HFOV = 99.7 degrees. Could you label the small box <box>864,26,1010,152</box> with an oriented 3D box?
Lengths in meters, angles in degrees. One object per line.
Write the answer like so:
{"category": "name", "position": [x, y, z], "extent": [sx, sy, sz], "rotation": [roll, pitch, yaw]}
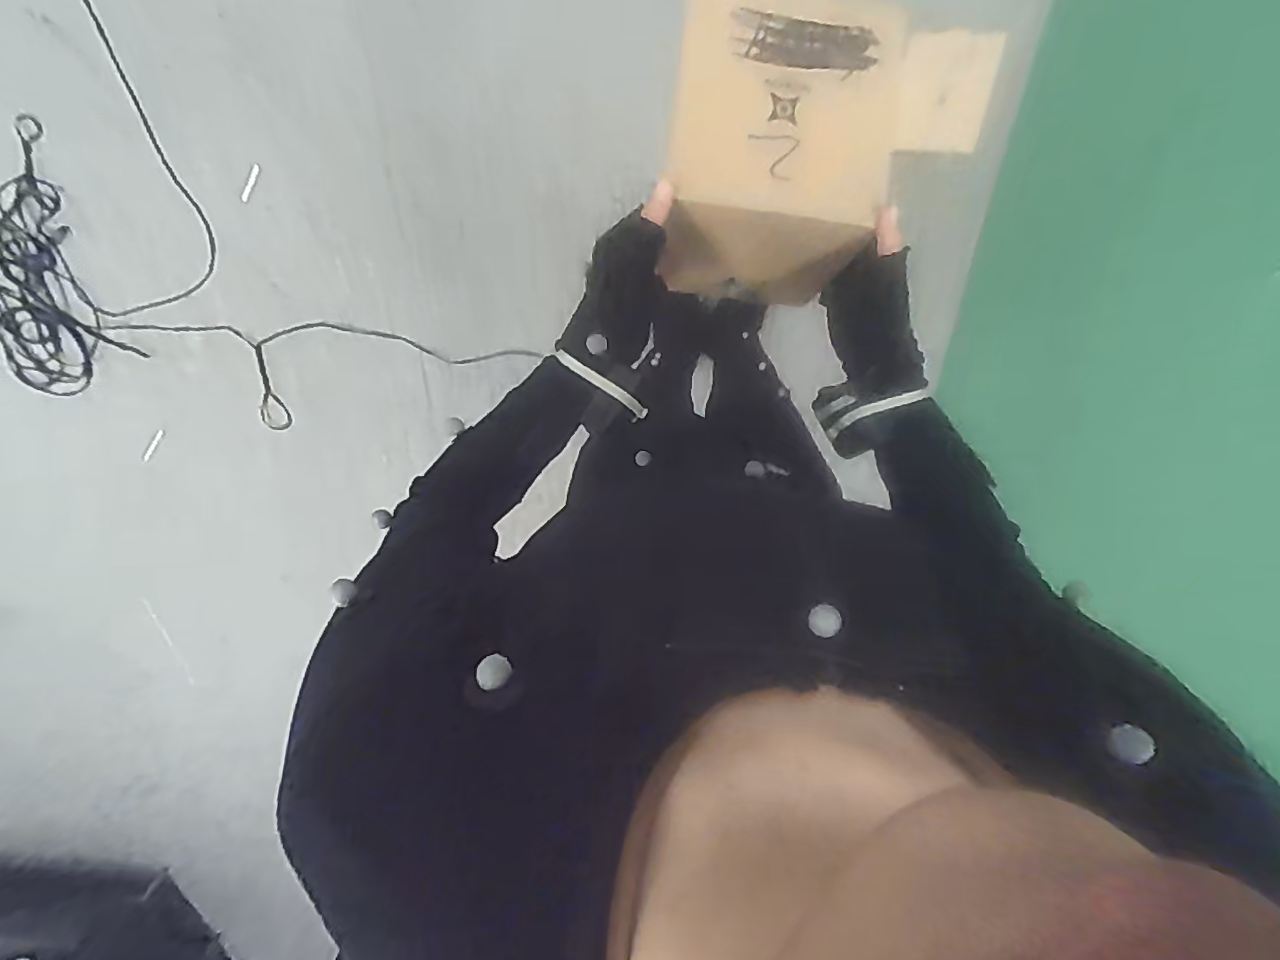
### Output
{"category": "small box", "position": [0.540, -0.722, 1.015], "extent": [0.168, 0.176, 0.179], "rotation": [3, 120, 2]}
